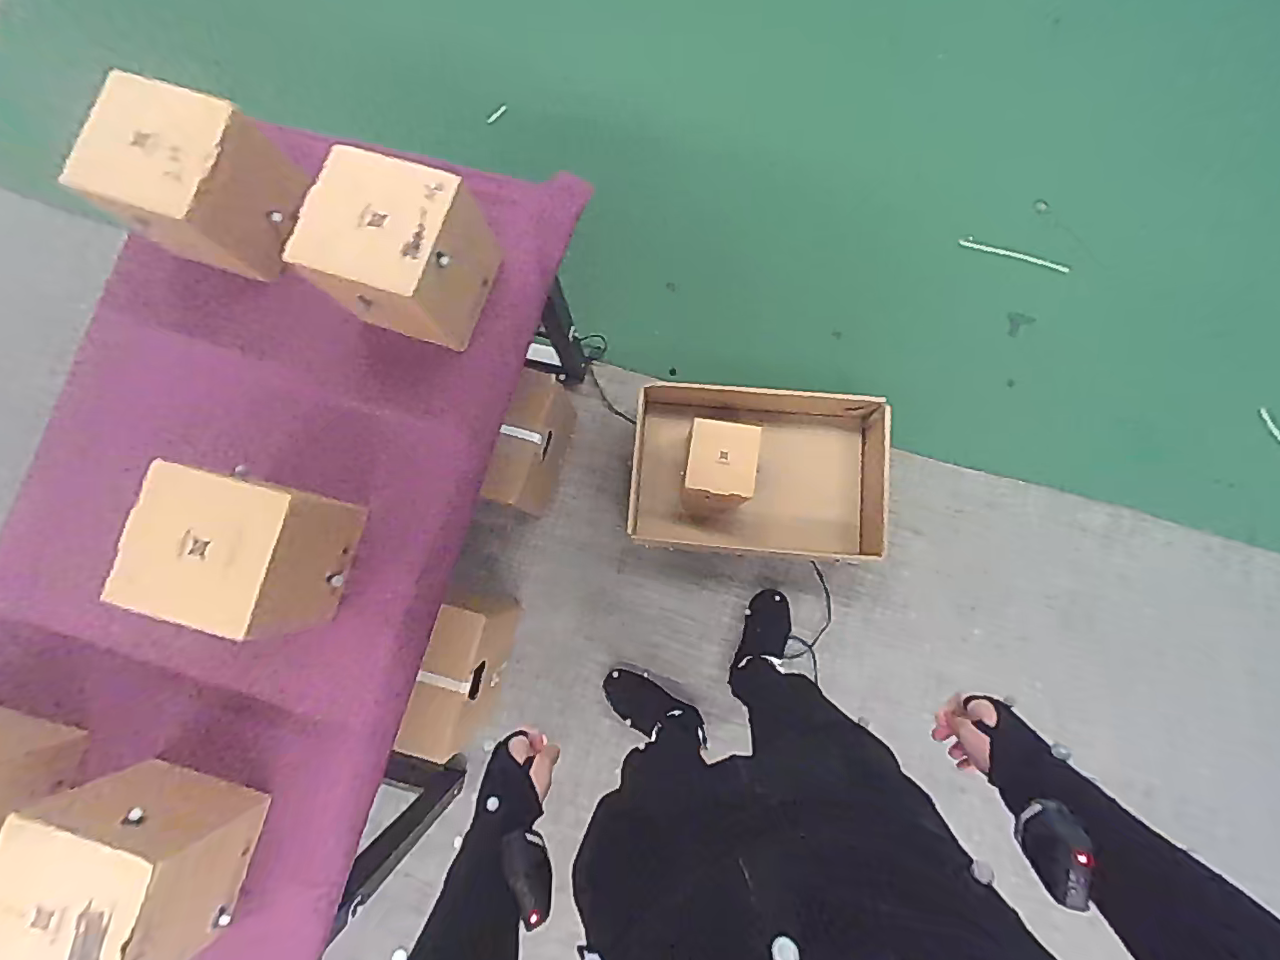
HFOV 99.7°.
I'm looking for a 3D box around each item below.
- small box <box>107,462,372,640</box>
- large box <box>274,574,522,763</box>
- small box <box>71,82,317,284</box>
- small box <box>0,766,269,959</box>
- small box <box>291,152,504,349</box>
[{"bbox_3d":[-0.482,0.089,0.680,0.179,0.176,0.168,14,82,5],"label":"small box"},{"bbox_3d":[-0.543,0.421,1.297,0.408,0.320,0.320,13,80,5],"label":"large box"},{"bbox_3d":[-0.610,-0.405,0.764,0.179,0.176,0.168,18,84,4],"label":"small box"},{"bbox_3d":[-0.580,0.456,0.619,0.179,0.176,0.168,14,80,6],"label":"small box"},{"bbox_3d":[-0.315,-0.299,0.737,0.179,0.176,0.168,18,83,7],"label":"small box"}]
